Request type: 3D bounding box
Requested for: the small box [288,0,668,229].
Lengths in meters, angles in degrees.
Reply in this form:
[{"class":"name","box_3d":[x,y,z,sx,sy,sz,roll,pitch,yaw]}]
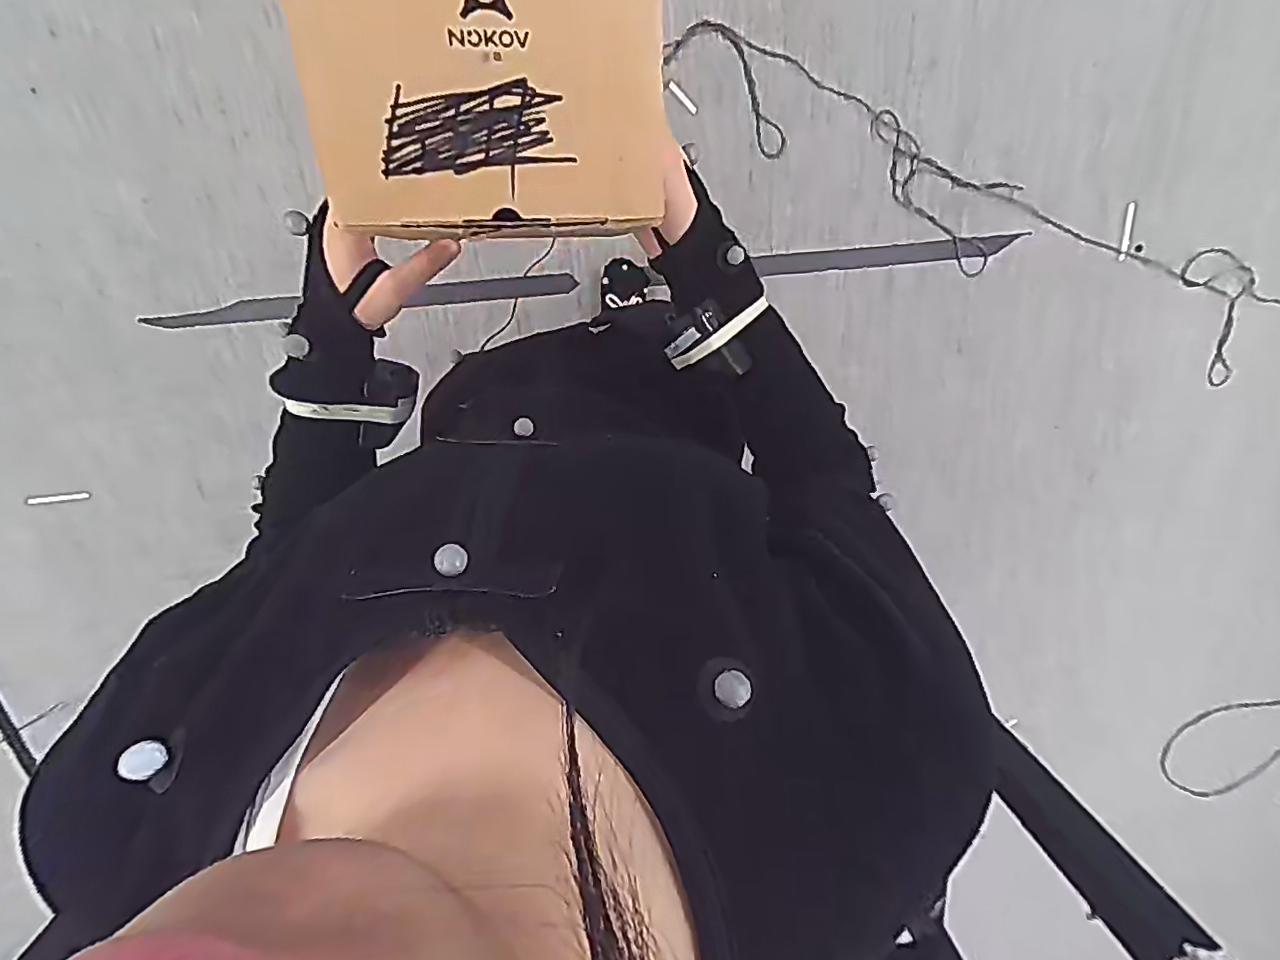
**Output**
[{"class":"small box","box_3d":[-0.082,-0.242,0.309,0.168,0.176,0.179,-6,112,-10]}]
